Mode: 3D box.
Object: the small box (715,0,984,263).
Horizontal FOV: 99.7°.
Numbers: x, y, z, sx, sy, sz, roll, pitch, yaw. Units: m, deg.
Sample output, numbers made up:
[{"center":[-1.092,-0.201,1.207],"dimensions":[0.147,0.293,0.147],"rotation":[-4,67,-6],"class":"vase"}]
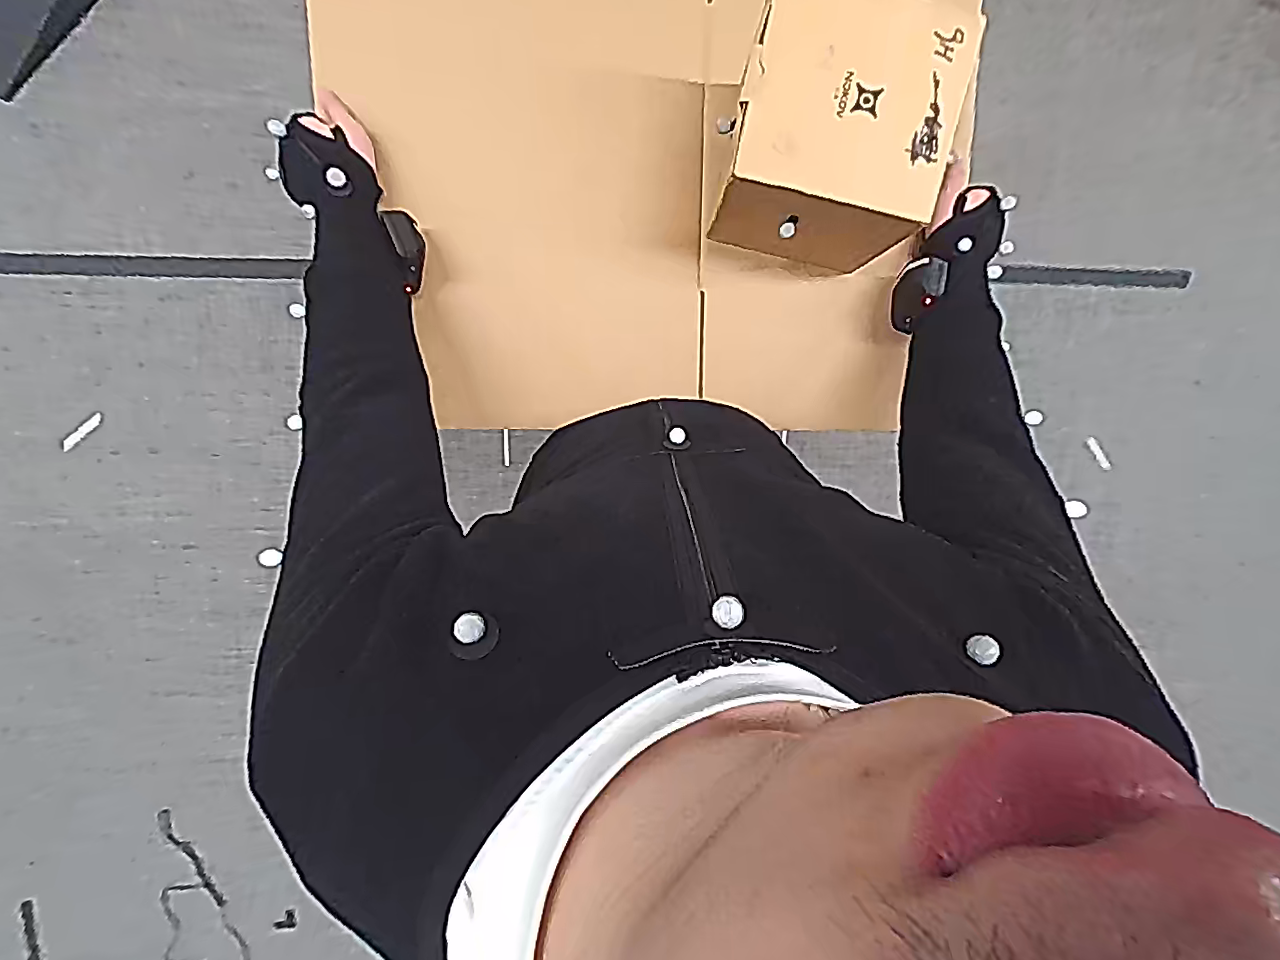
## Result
[{"center":[0.180,-0.329,0.528],"dimensions":[0.179,0.176,0.168],"rotation":[13,97,-1],"class":"small box"}]
